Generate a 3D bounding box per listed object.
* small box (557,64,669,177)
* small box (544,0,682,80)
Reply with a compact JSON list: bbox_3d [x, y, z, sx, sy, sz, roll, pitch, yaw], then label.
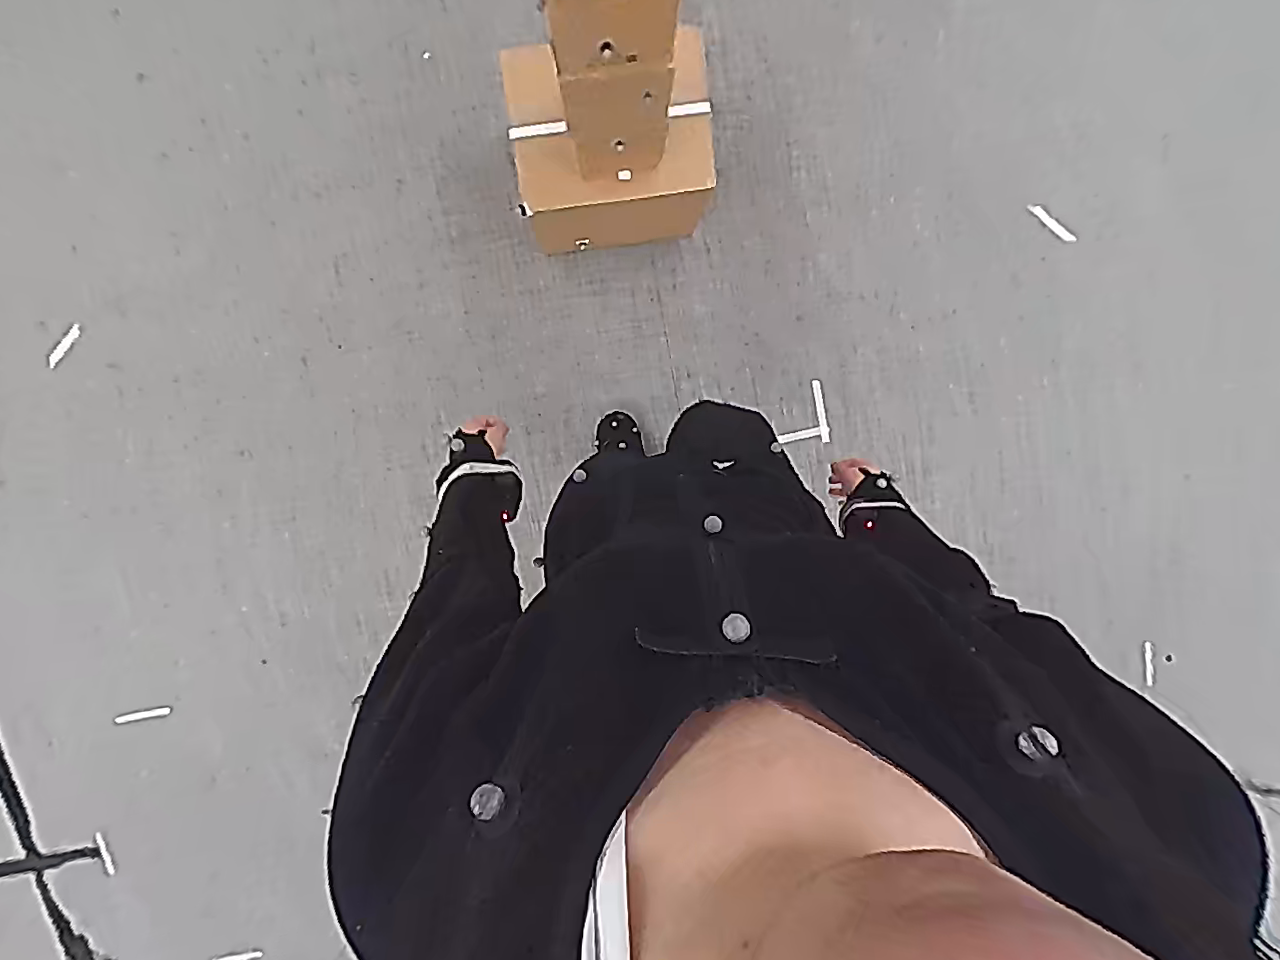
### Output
[{"bbox_3d":[-0.051,-0.695,1.015,0.179,0.176,0.168,-11,99,-2],"label":"small box"},{"bbox_3d":[-0.046,-0.661,0.690,0.168,0.176,0.179,-10,99,-1],"label":"small box"}]
